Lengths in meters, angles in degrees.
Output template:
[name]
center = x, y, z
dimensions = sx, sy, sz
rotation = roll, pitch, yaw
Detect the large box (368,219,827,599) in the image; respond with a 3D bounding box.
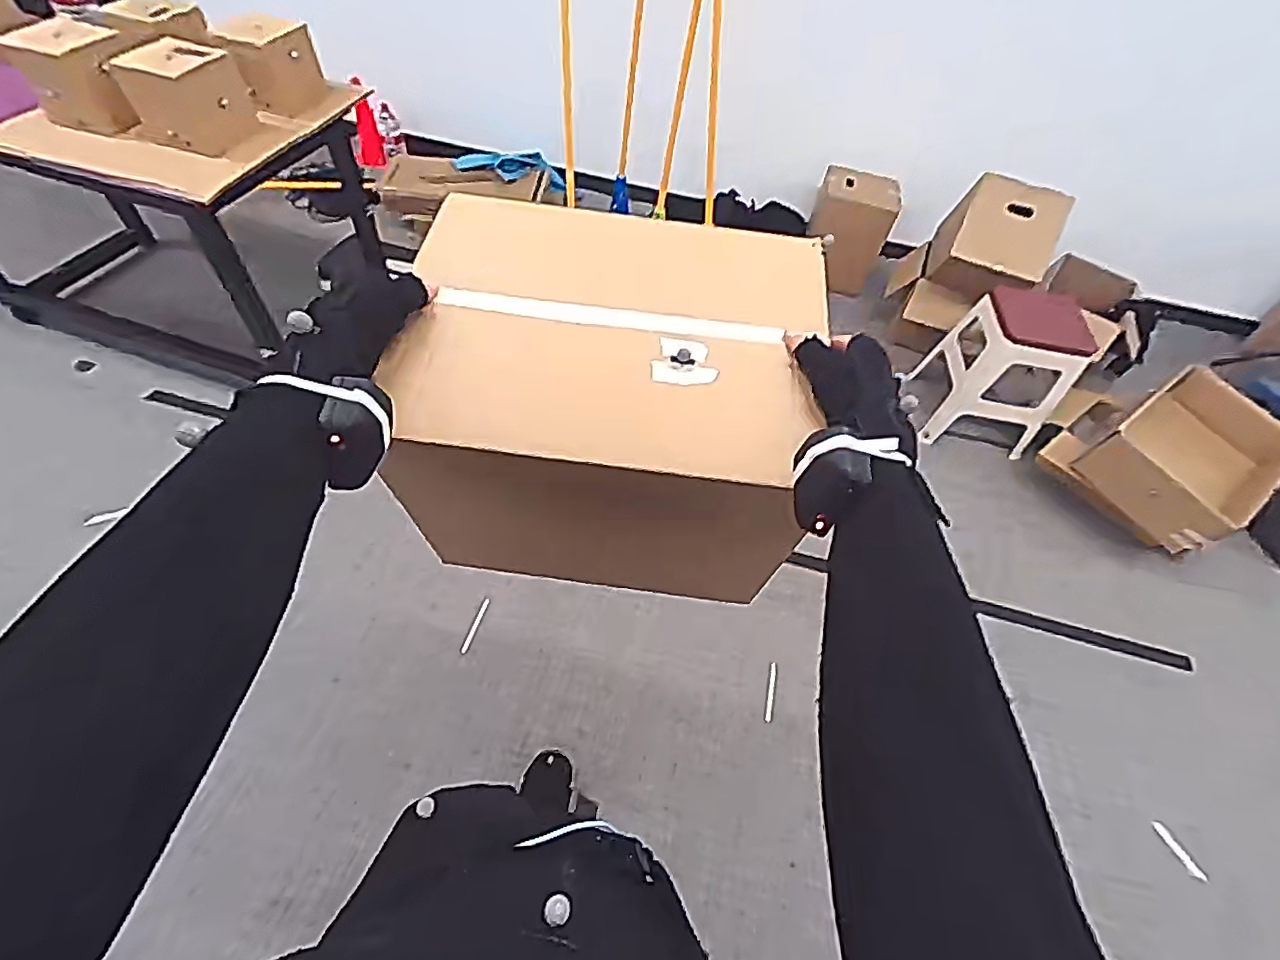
[large box]
center = -0.034, -0.066, 0.661
dimensions = 0.408, 0.320, 0.320
rotation = 8, 61, -1
